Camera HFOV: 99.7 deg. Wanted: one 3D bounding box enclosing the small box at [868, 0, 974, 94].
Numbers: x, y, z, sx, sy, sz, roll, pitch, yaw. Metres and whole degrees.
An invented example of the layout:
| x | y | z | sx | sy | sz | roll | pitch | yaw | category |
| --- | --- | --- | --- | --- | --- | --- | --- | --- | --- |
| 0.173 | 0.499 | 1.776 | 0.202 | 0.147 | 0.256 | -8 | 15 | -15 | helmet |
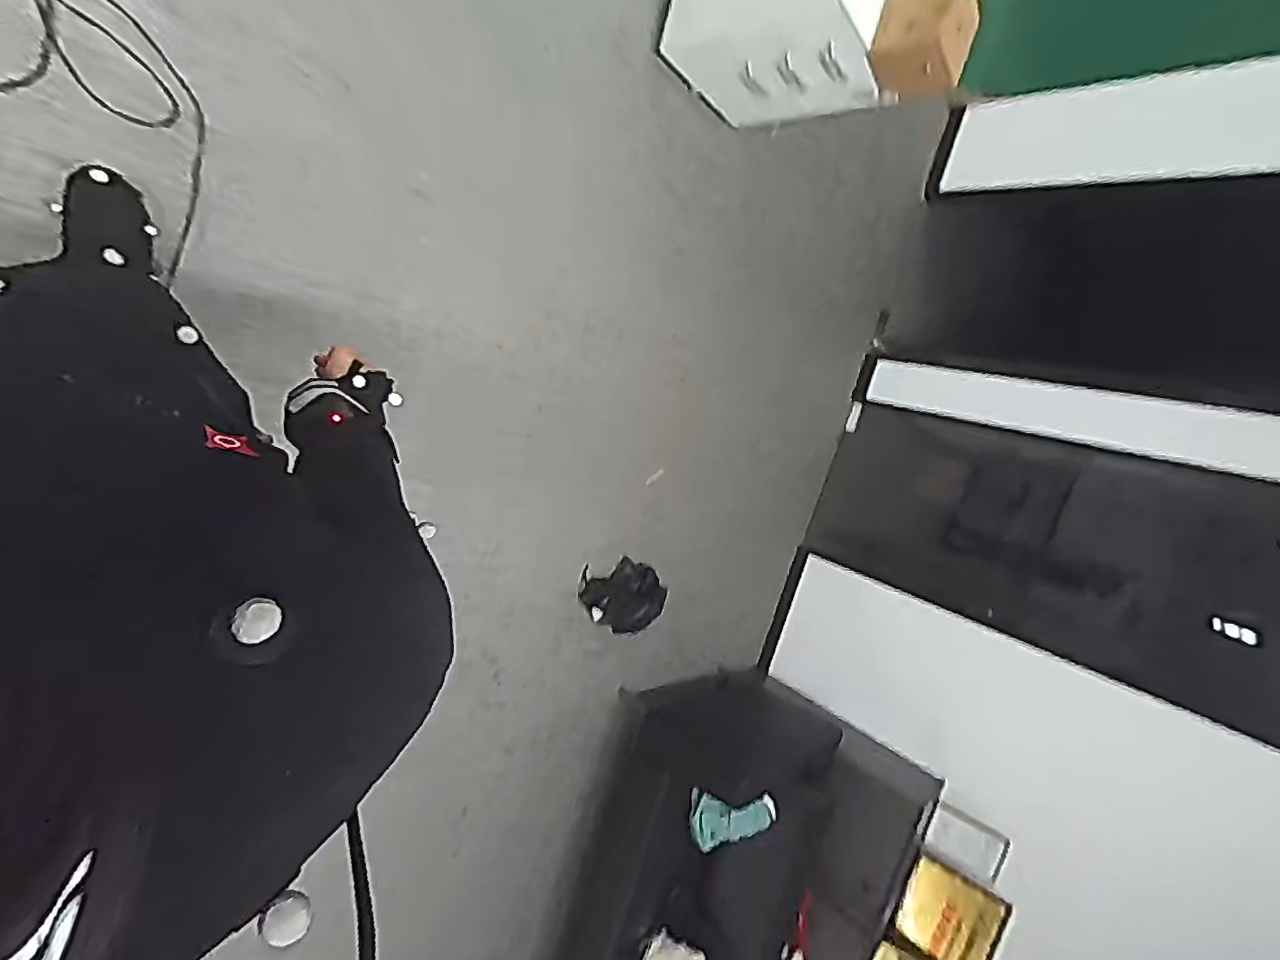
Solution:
| x | y | z | sx | sy | sz | roll | pitch | yaw | category |
| --- | --- | --- | --- | --- | --- | --- | --- | --- | --- |
| 0.682 | -1.085 | 1.320 | 0.179 | 0.176 | 0.168 | 11 | 99 | -49 | small box |
